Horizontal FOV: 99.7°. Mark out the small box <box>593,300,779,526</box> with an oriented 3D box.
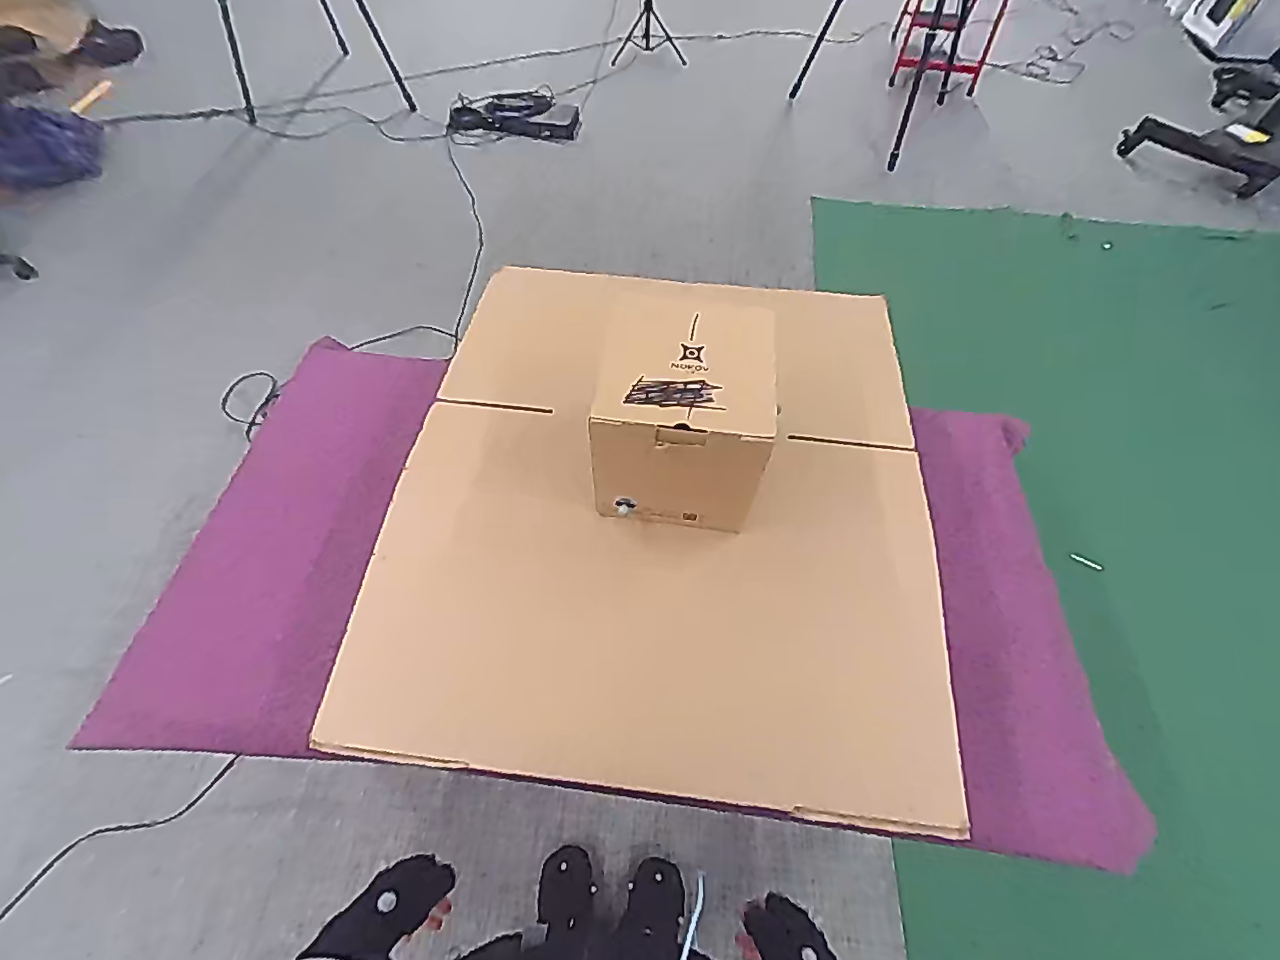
[{"bbox_3d":[0.046,-0.064,0.579,0.168,0.176,0.179,5,58,1],"label":"small box"}]
